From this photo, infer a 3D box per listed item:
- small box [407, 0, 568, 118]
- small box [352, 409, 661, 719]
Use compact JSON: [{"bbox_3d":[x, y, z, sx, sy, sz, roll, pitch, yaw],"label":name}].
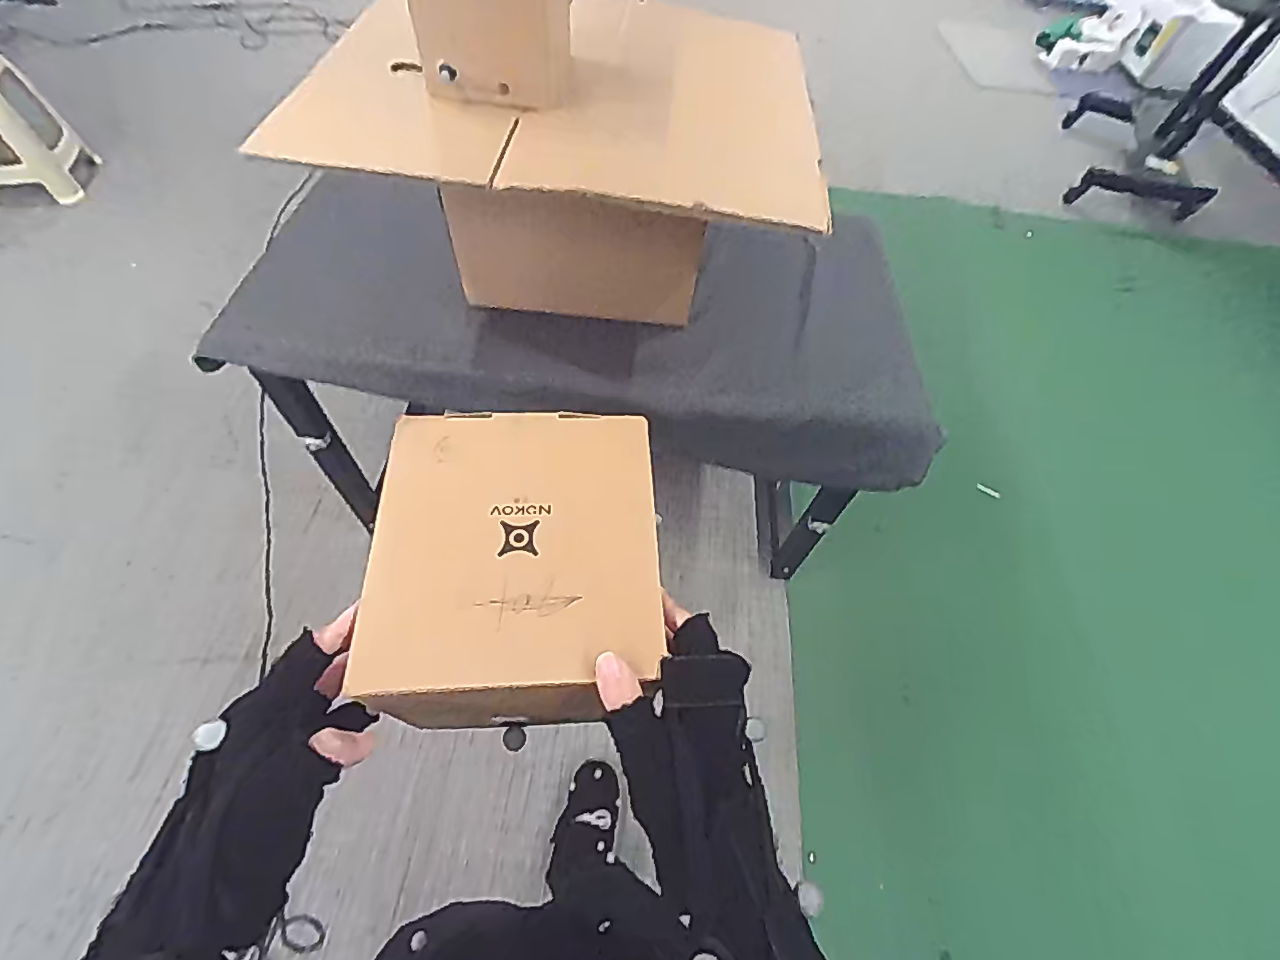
[{"bbox_3d":[-0.188,-0.603,0.704,0.168,0.176,0.179,6,57,-1],"label":"small box"},{"bbox_3d":[-0.080,0.068,0.398,0.168,0.176,0.179,0,60,-5],"label":"small box"}]
